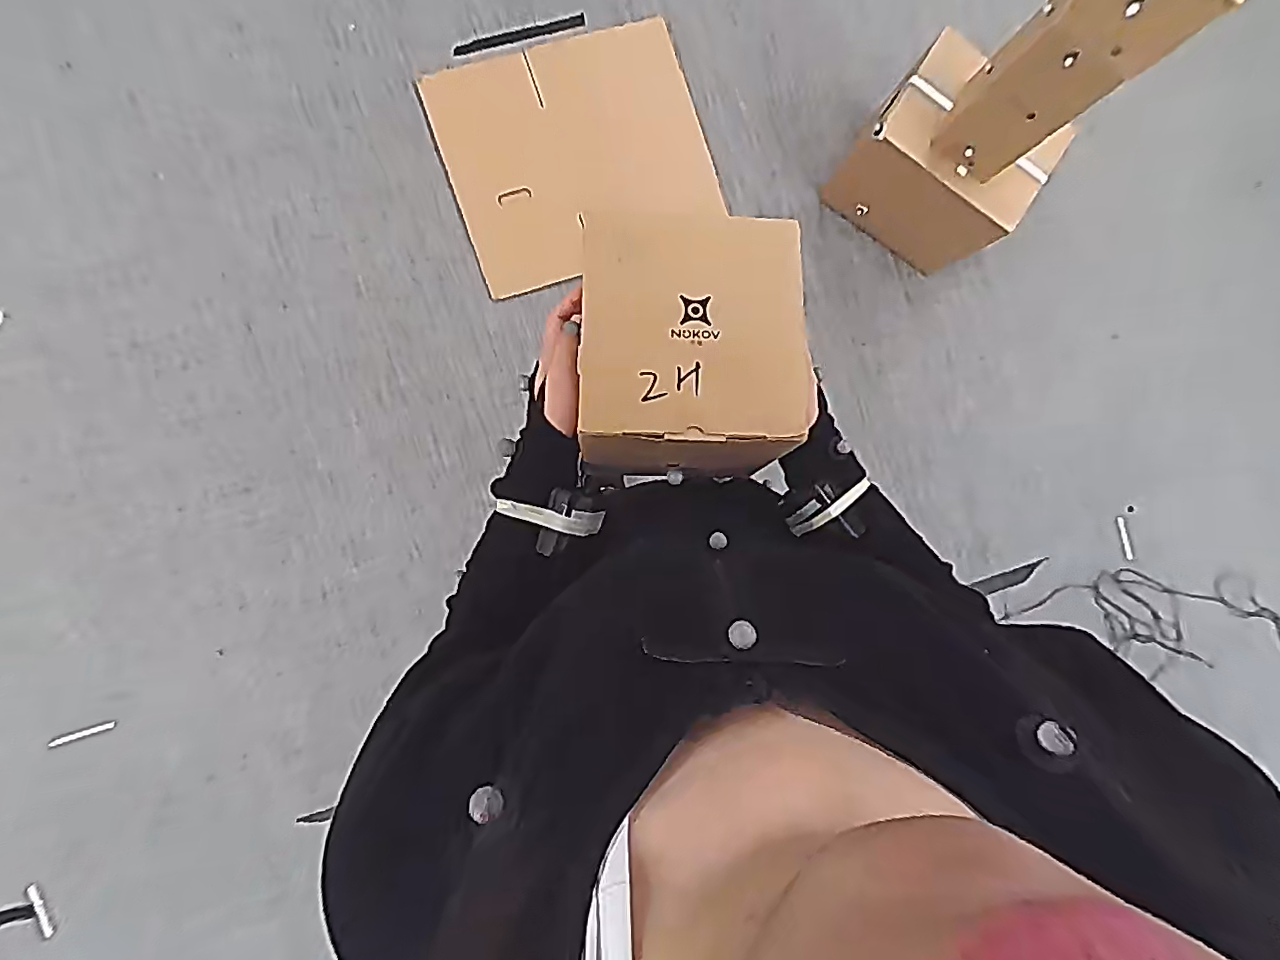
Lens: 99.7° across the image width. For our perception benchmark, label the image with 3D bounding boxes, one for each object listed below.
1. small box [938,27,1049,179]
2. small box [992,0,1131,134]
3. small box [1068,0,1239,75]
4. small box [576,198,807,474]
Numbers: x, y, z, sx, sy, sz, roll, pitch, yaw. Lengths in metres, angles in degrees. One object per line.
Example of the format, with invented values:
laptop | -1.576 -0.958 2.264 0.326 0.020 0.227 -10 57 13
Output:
small box | 0.796 -0.811 1.179 0.168 0.176 0.179 32 88 -6
small box | 0.815 -0.811 1.016 0.168 0.176 0.179 32 87 -6
small box | 0.835 -0.805 0.854 0.168 0.176 0.179 32 87 -6
small box | 0.033 -0.108 0.470 0.168 0.176 0.179 1 80 -3
